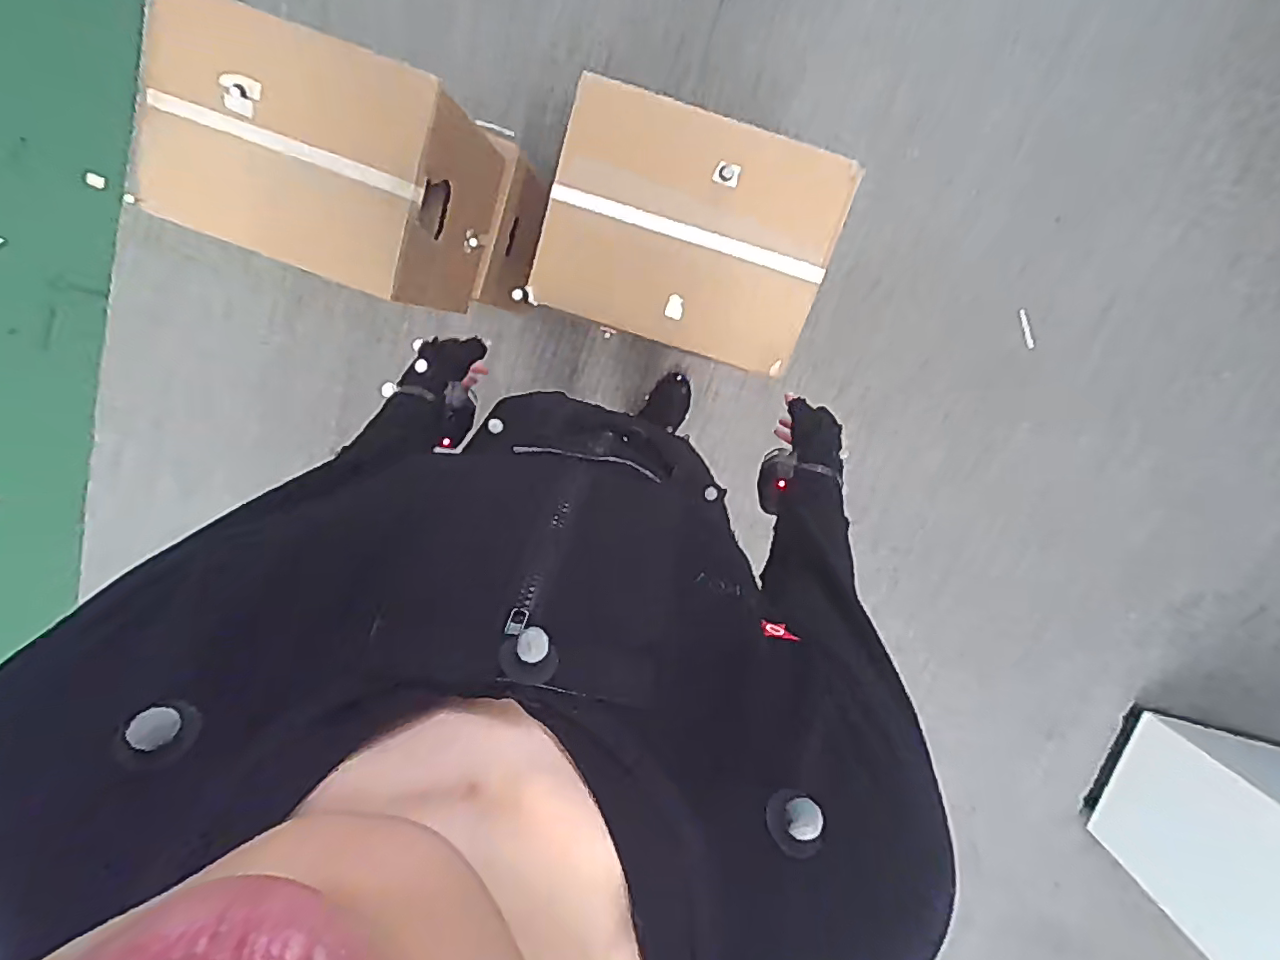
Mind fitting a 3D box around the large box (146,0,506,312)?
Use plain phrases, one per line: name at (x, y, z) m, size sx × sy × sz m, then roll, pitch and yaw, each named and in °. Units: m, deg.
large box at (-0.495, -0.505, 0.918) m, size 0.408 × 0.320 × 0.320 m, roll 21°, pitch 103°, yaw 0°
